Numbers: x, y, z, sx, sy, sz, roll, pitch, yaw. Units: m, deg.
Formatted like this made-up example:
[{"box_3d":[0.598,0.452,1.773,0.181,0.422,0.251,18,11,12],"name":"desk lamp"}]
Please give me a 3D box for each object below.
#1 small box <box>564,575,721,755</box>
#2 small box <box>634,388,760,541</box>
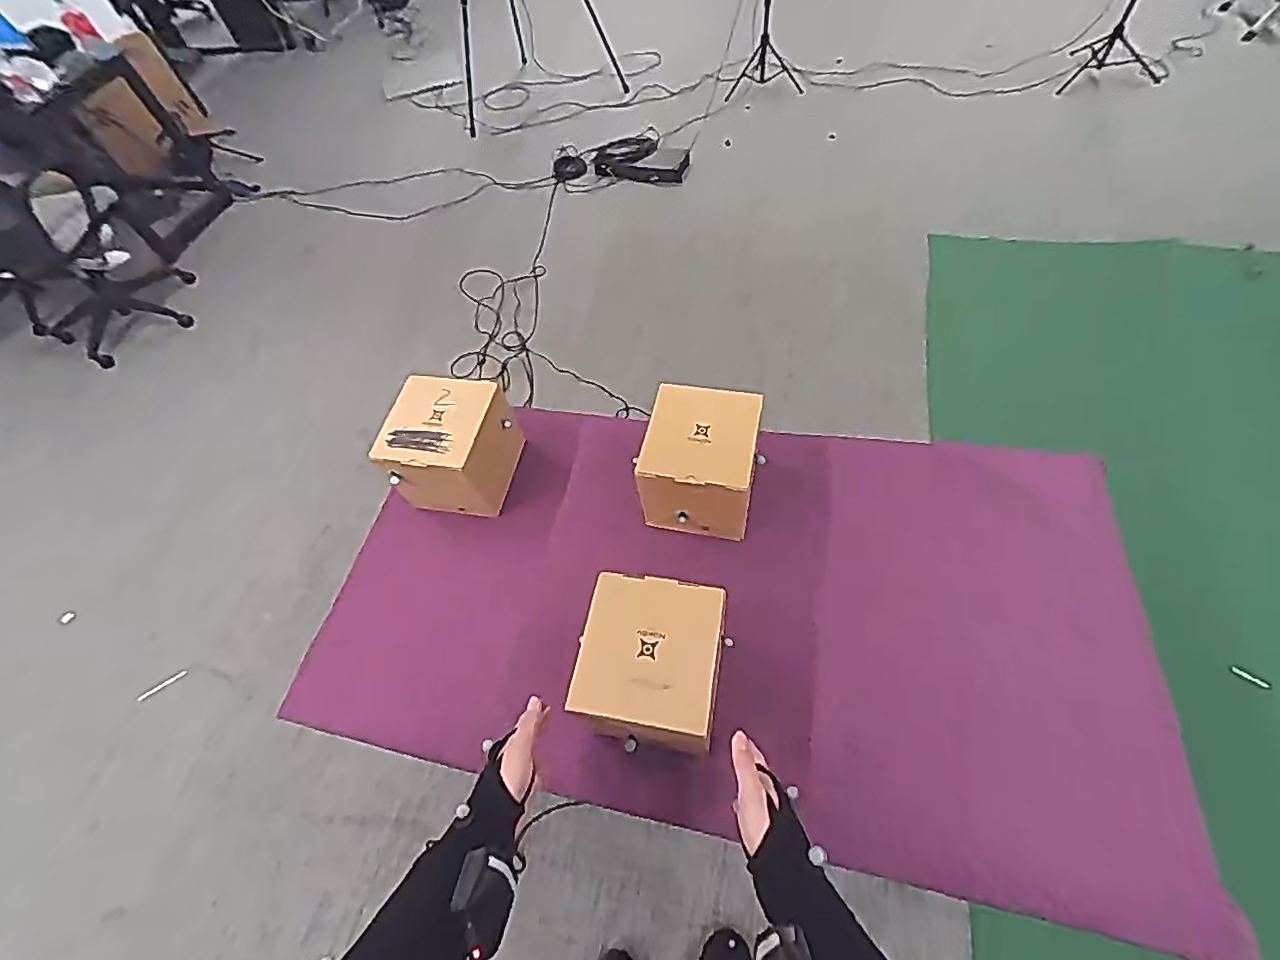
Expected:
[{"box_3d":[0.016,0.249,0.722,0.168,0.176,0.179,6,59,13],"name":"small box"},{"box_3d":[0.097,-0.023,0.882,0.168,0.176,0.179,8,62,13],"name":"small box"}]
